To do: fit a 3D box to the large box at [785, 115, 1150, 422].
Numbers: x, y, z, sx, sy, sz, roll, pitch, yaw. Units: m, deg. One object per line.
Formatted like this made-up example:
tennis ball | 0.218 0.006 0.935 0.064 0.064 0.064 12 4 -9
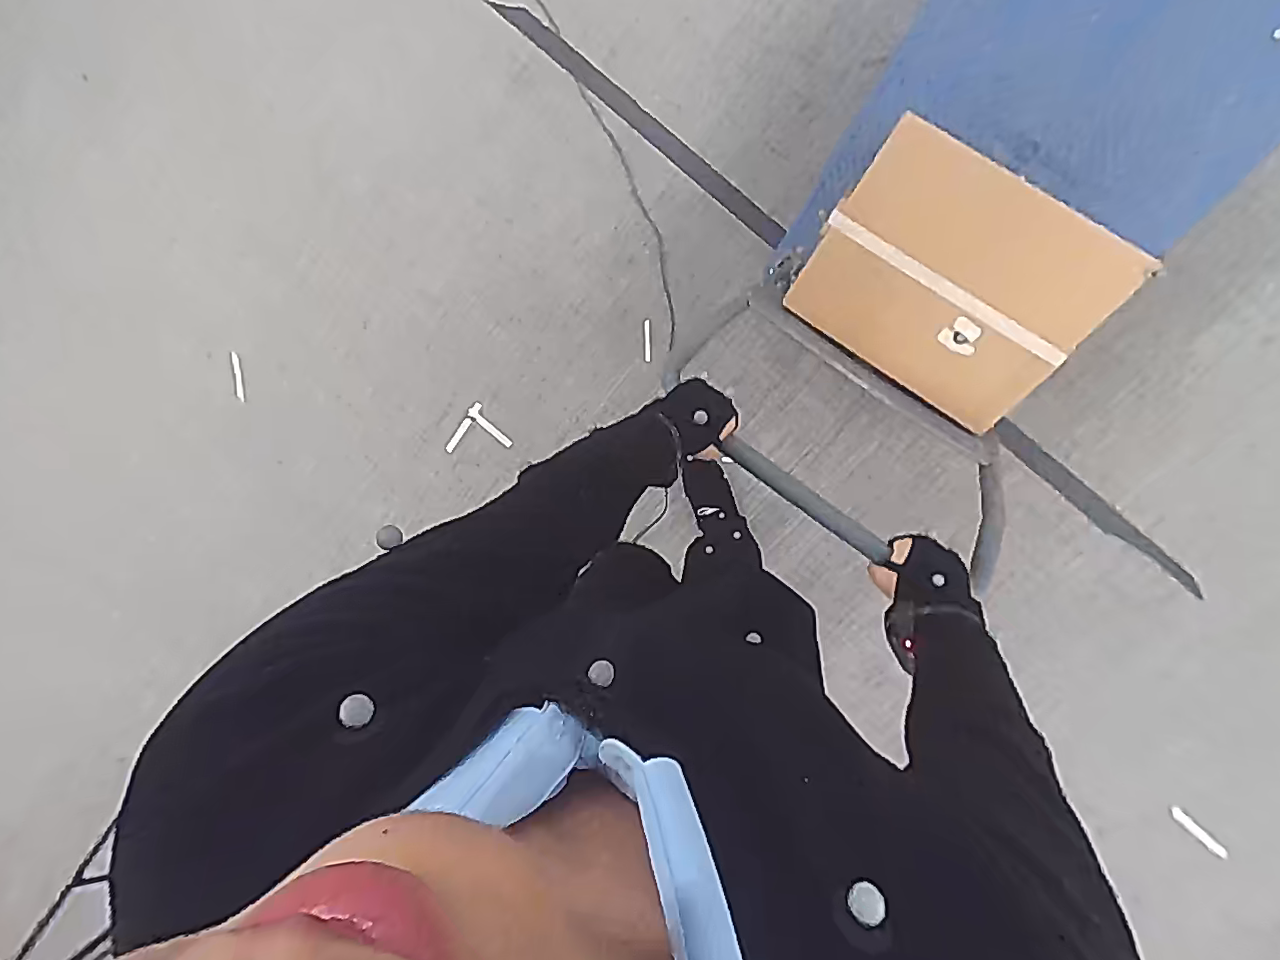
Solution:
large box | 0.534 -0.376 0.966 0.408 0.320 0.320 36 127 6
